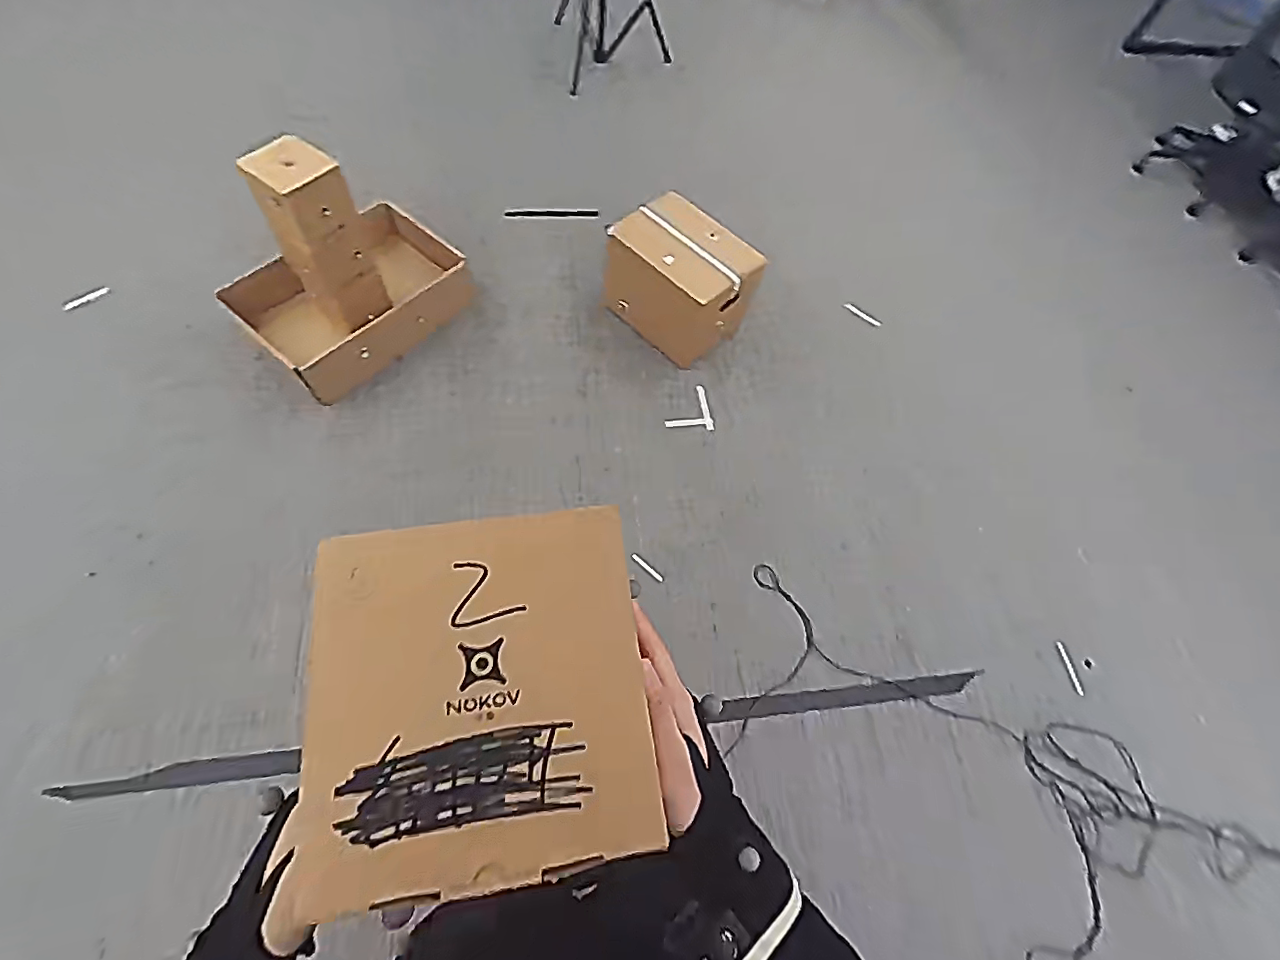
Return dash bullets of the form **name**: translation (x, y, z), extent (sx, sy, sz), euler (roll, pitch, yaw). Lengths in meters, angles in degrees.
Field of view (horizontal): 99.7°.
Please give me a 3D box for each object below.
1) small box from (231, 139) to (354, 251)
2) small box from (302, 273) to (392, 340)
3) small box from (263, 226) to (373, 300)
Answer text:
- **small box**: translation (-0.871, -0.716, 1.377), extent (0.179, 0.176, 0.168), euler (33, 62, 9)
- **small box**: translation (-0.907, -0.568, 1.667), extent (0.179, 0.176, 0.168), euler (38, 65, 11)
- **small box**: translation (-0.894, -0.638, 1.522), extent (0.179, 0.176, 0.168), euler (33, 63, 11)
